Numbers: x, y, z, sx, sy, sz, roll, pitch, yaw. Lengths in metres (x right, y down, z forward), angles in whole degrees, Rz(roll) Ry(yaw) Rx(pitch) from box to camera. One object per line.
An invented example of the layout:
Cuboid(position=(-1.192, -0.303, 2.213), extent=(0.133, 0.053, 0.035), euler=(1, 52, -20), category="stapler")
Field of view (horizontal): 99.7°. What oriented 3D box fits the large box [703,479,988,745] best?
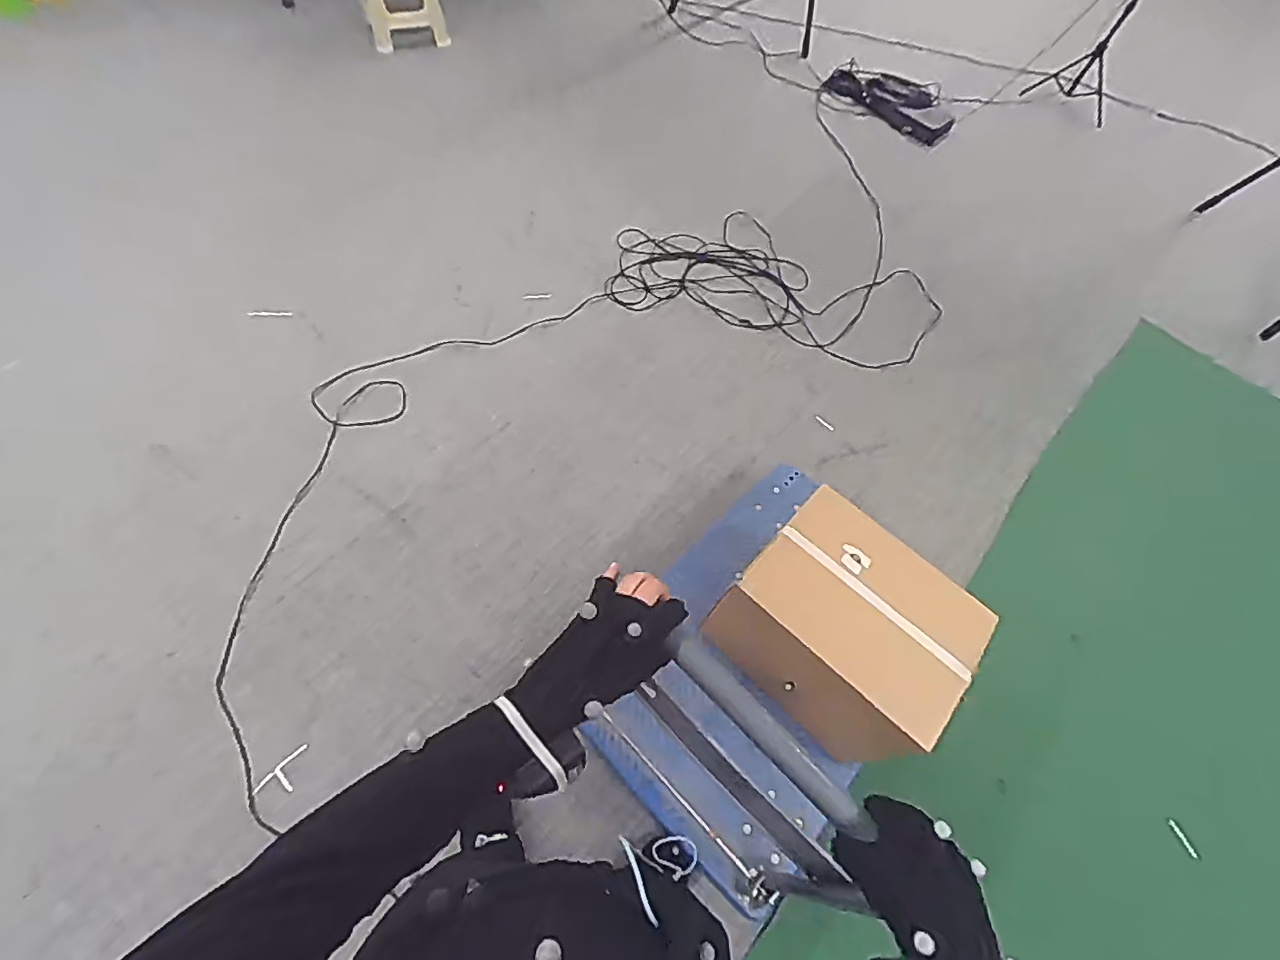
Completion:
Cuboid(position=(0.402, 0.283, 1.139), extent=(0.408, 0.320, 0.320), euler=(40, 62, 16), category="large box")
